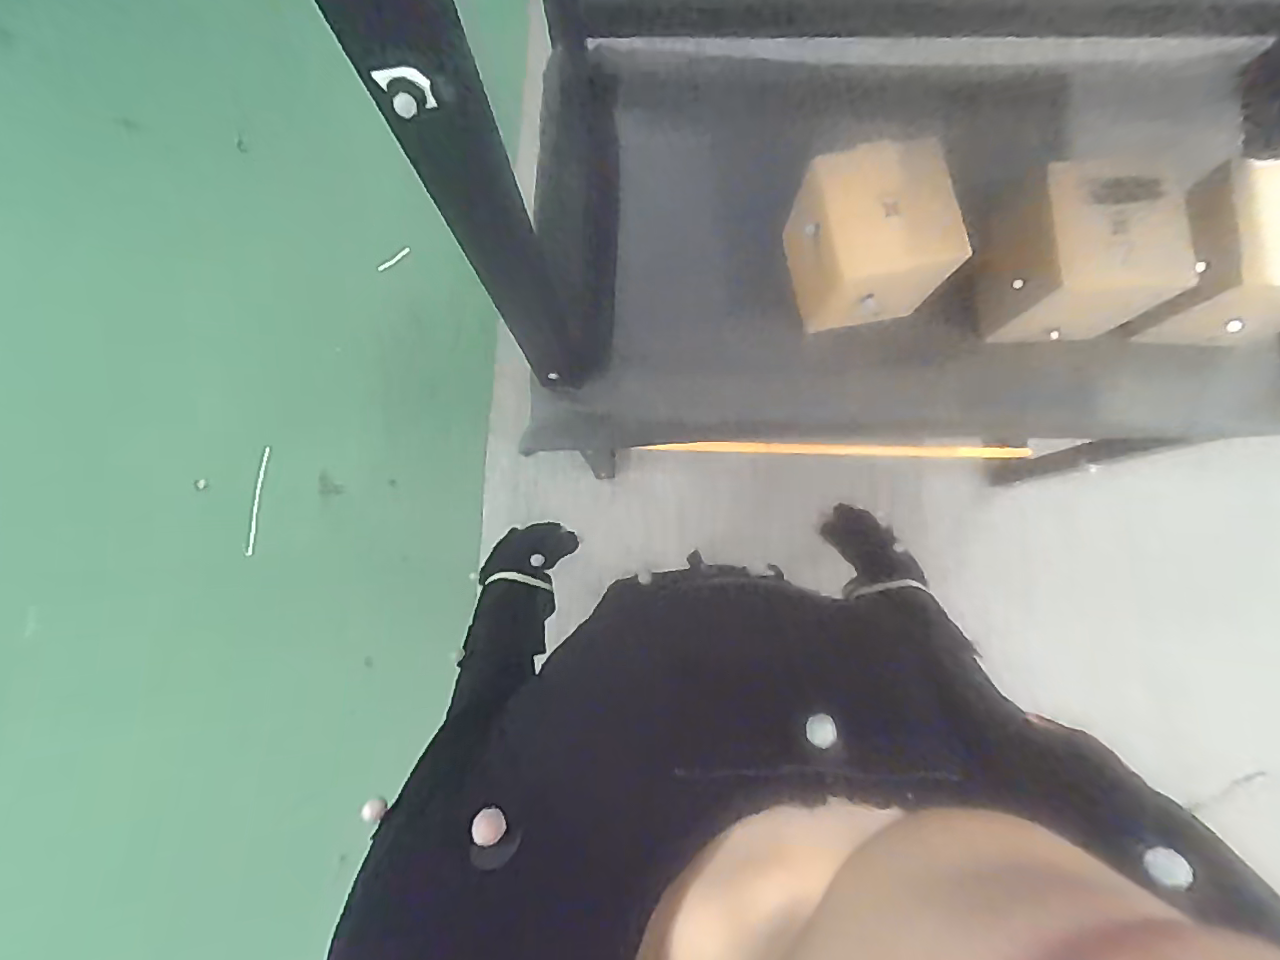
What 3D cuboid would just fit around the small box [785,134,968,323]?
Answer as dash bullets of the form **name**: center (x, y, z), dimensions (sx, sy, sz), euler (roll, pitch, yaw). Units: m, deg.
- **small box**: center (0.318, -0.338, 0.763), dimensions (0.168, 0.176, 0.179), euler (-9, 80, 0)
